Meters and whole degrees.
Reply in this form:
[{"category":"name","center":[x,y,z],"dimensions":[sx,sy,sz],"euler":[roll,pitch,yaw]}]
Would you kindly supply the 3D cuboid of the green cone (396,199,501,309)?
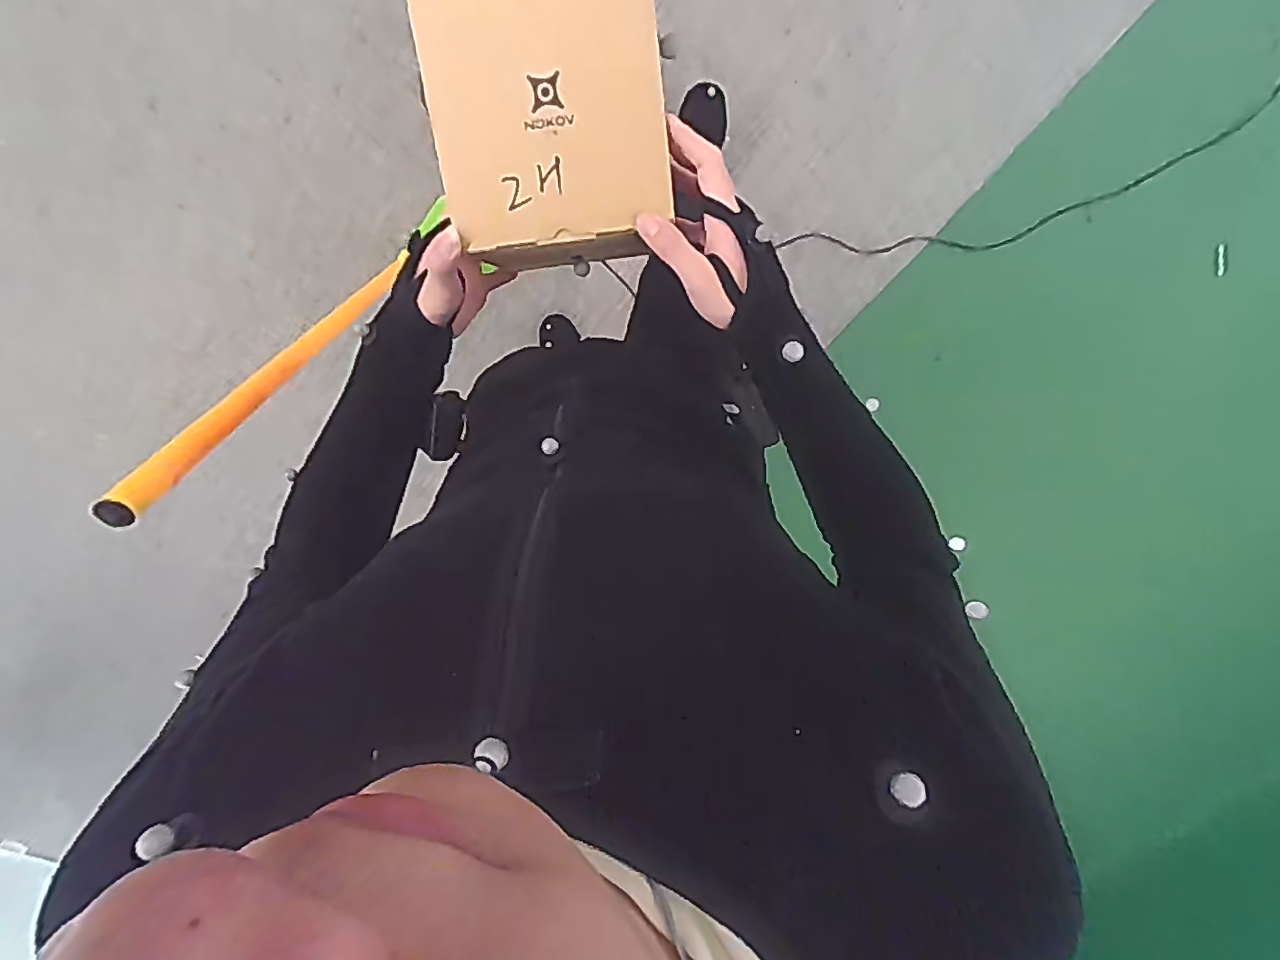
[{"category":"green cone","center":[-0.467,-0.495,1.211],"dimensions":[0.200,0.368,0.202],"euler":[37,106,-19]}]
